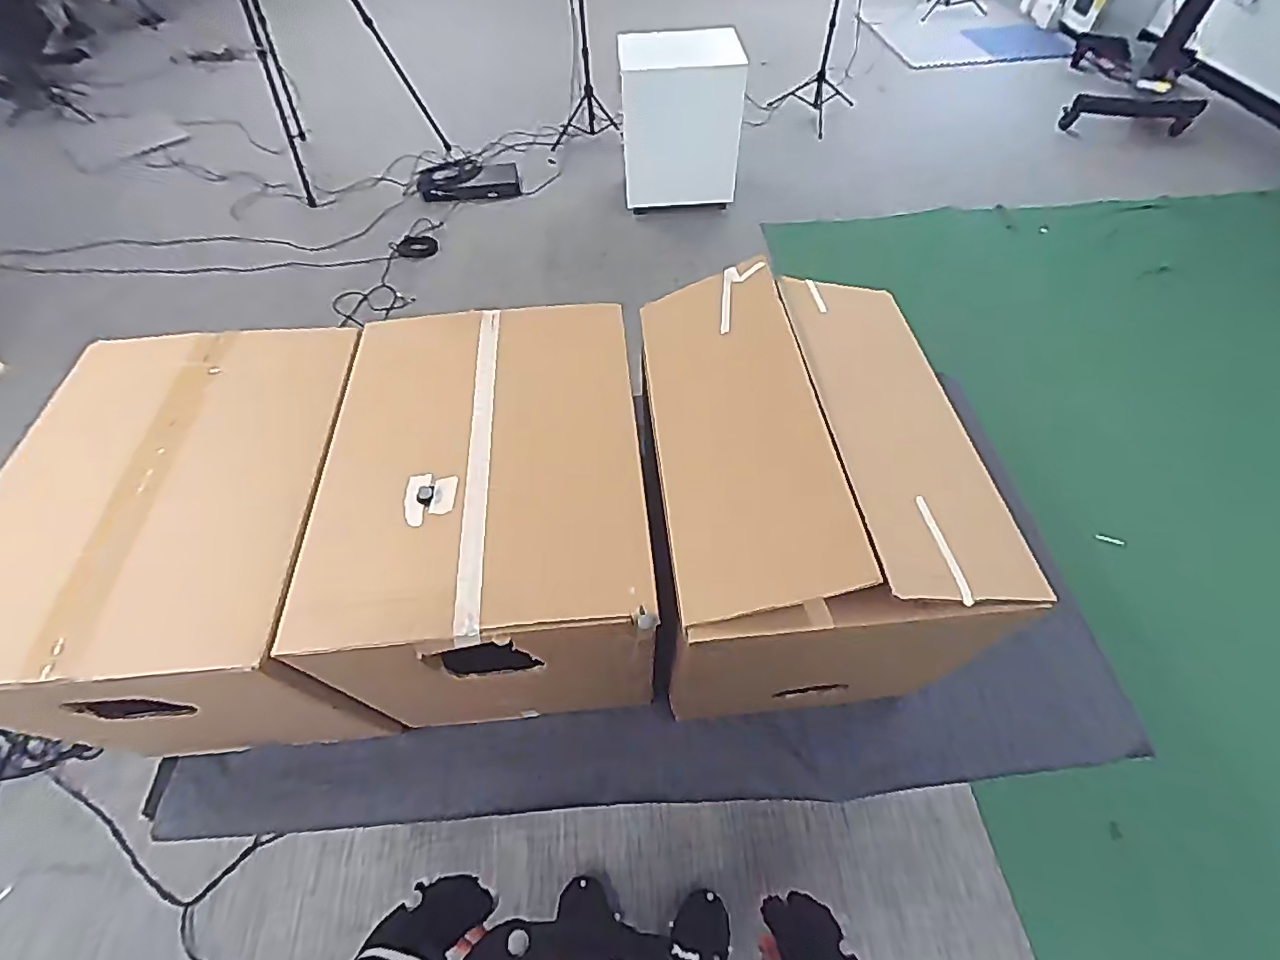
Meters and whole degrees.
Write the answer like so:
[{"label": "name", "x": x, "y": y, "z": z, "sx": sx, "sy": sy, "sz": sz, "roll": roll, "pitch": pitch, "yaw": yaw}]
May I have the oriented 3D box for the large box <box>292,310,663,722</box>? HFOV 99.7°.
[{"label": "large box", "x": -0.153, "y": 0.048, "z": 0.676, "sx": 0.320, "sy": 0.320, "sz": 0.408, "roll": -6, "pitch": 56, "yaw": -2}]
